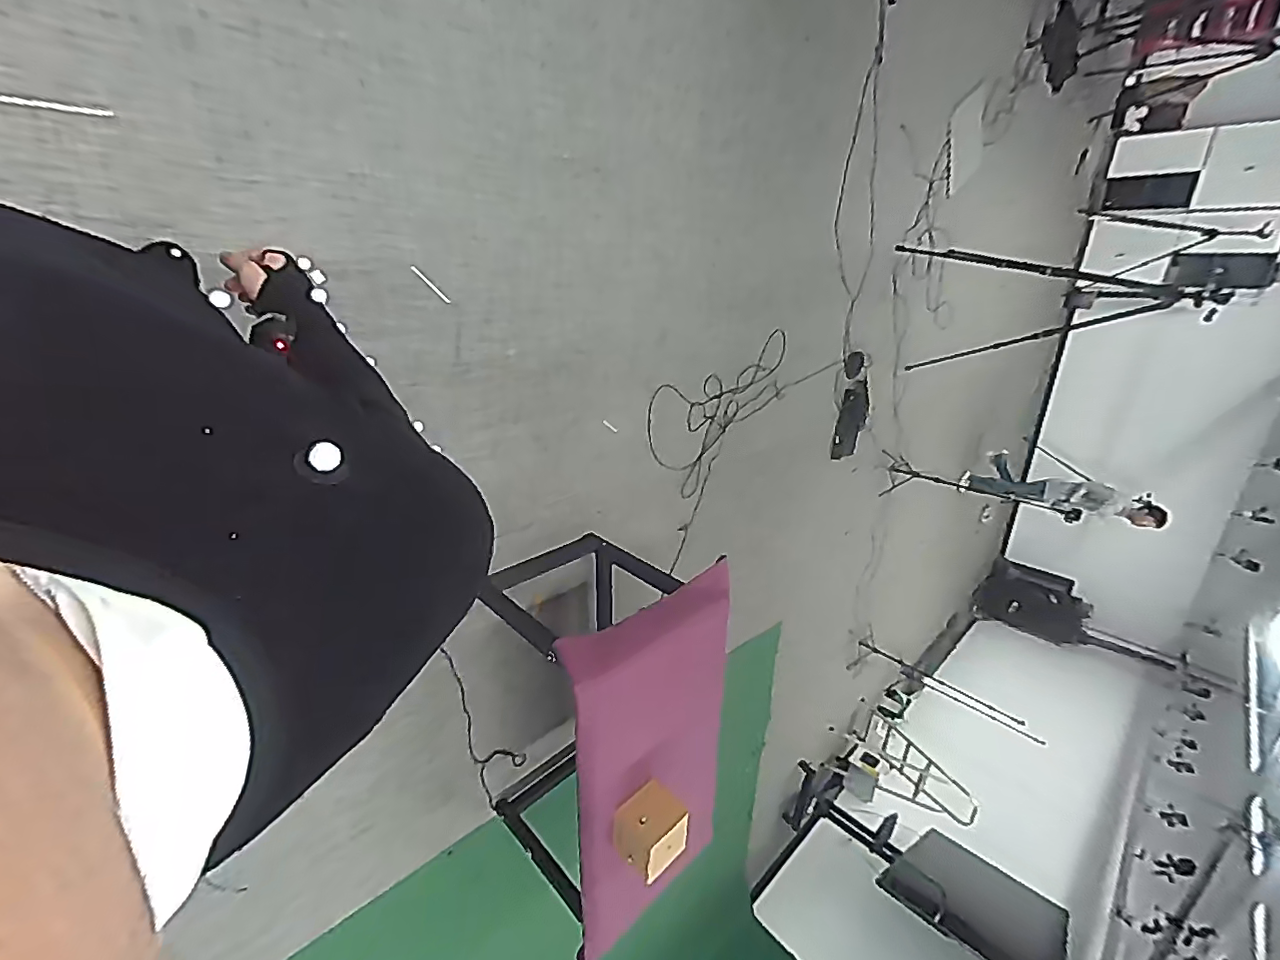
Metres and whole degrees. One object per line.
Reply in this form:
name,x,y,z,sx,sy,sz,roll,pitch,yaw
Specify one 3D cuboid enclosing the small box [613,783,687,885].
small box,0.028,1.125,1.732,0.179,0.176,0.168,-17,118,-42
